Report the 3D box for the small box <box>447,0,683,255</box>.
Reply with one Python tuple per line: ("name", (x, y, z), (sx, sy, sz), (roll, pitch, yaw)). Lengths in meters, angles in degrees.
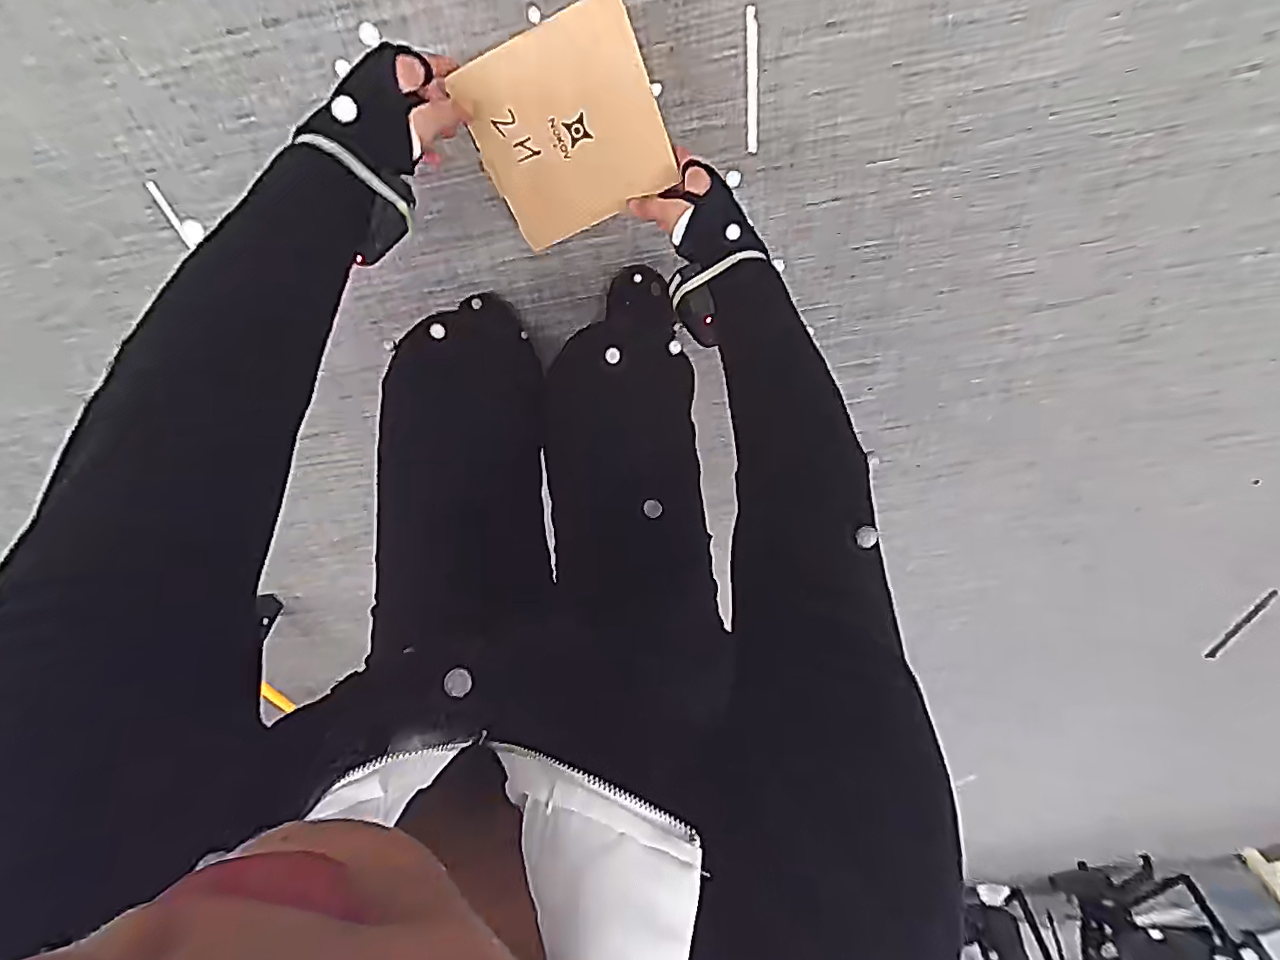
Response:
("small box", (-0.072, -0.371, 0.573), (0.179, 0.176, 0.168), (-21, 125, 9))
